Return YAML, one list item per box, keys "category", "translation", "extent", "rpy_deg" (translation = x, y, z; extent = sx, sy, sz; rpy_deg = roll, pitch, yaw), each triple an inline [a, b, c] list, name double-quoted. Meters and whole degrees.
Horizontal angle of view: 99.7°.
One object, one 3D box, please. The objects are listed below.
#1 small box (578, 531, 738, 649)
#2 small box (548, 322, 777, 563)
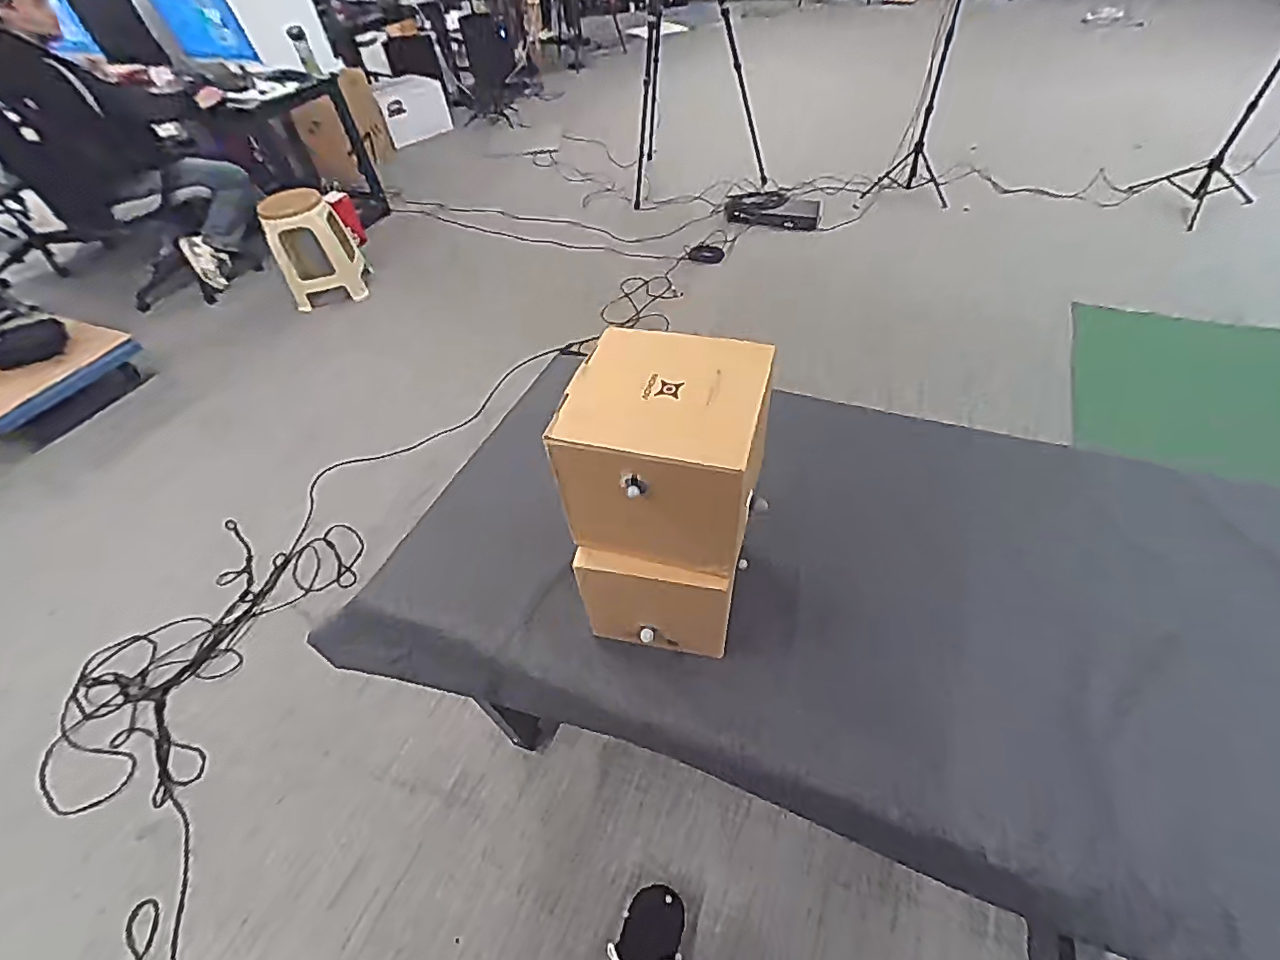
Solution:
- category: "small box"
  translation: [0.036, 0.080, 0.665]
  extent: [0.168, 0.176, 0.179]
  rpy_deg: [7, 51, 12]
- category: "small box"
  translation: [0.032, -0.036, 0.550]
  extent: [0.179, 0.176, 0.168]
  rpy_deg: [11, 53, 14]
